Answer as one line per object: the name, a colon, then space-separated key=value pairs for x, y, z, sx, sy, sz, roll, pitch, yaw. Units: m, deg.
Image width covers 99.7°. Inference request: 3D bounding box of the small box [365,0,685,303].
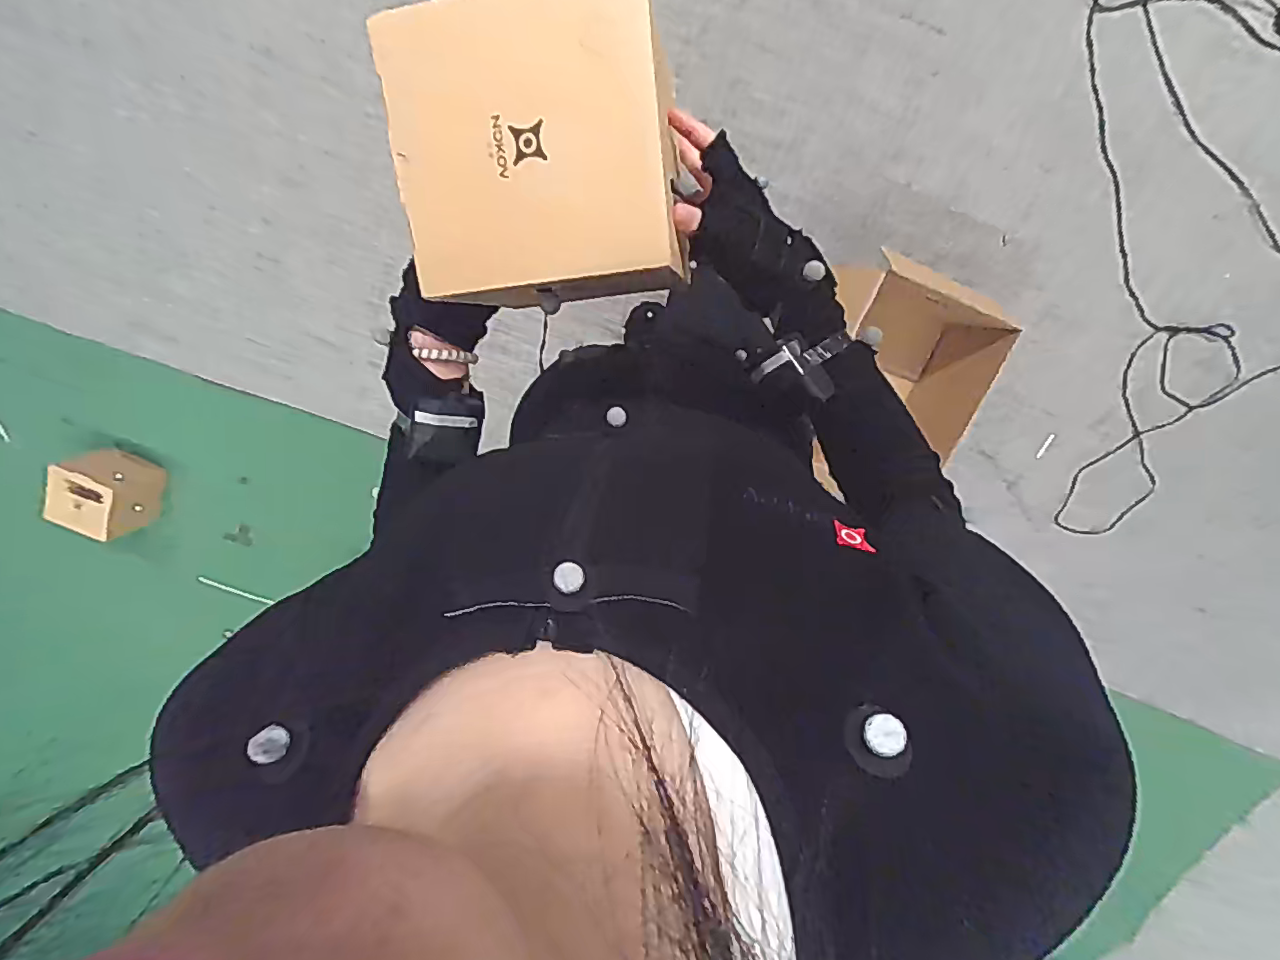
small box: x=-0.059 y=-0.227 z=0.404 sx=0.179 sy=0.176 sz=0.168 roll=-3 pitch=105 yaw=11
